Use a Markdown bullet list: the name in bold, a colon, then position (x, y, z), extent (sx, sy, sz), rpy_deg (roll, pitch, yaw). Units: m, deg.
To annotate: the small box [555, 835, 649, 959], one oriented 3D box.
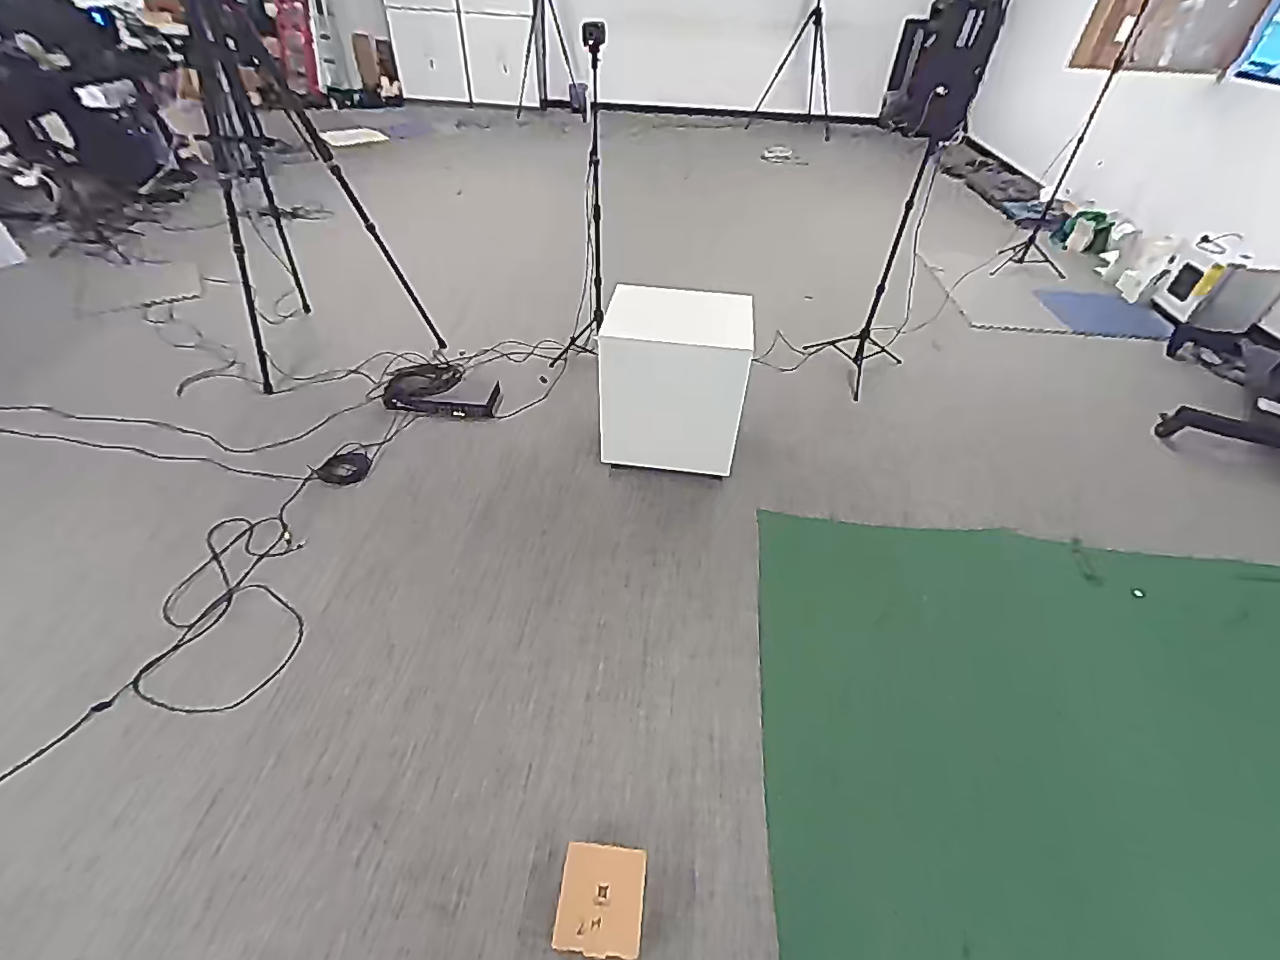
- **small box**: position (-0.075, 0.874, 1.130), extent (0.168, 0.176, 0.179), rpy_deg (5, 45, 4)
